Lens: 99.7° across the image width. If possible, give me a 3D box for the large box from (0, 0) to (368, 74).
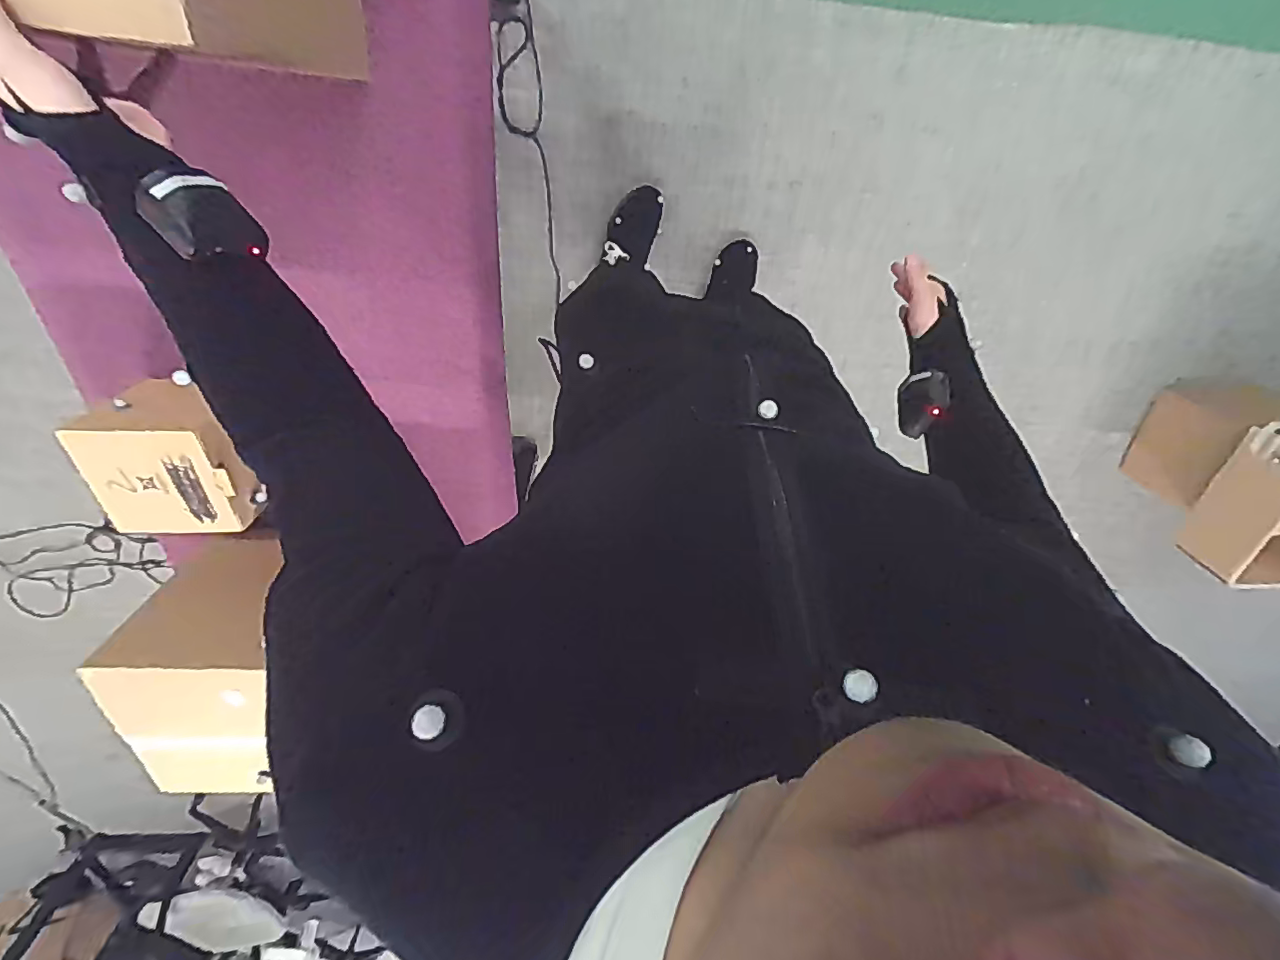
[{"bbox_3d":[-0.485,-0.517,0.397,0.408,0.320,0.320,3,124,-5],"label":"large box"}]
